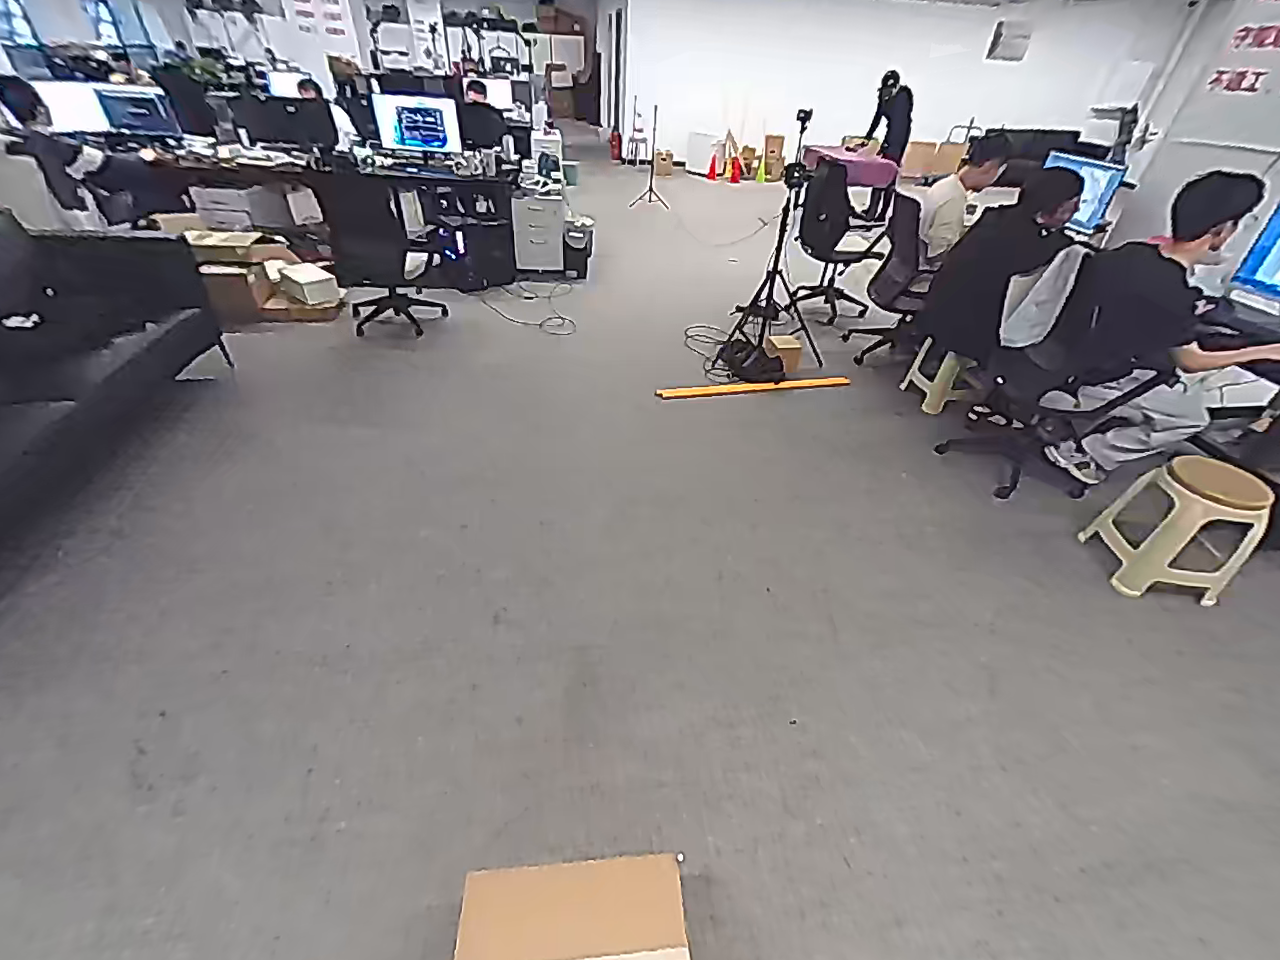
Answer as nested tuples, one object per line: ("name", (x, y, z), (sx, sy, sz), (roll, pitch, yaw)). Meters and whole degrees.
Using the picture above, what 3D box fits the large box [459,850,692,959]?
("large box", (-0.118, 0.945, 1.010), (0.408, 0.320, 0.320), (-1, 38, -6))
